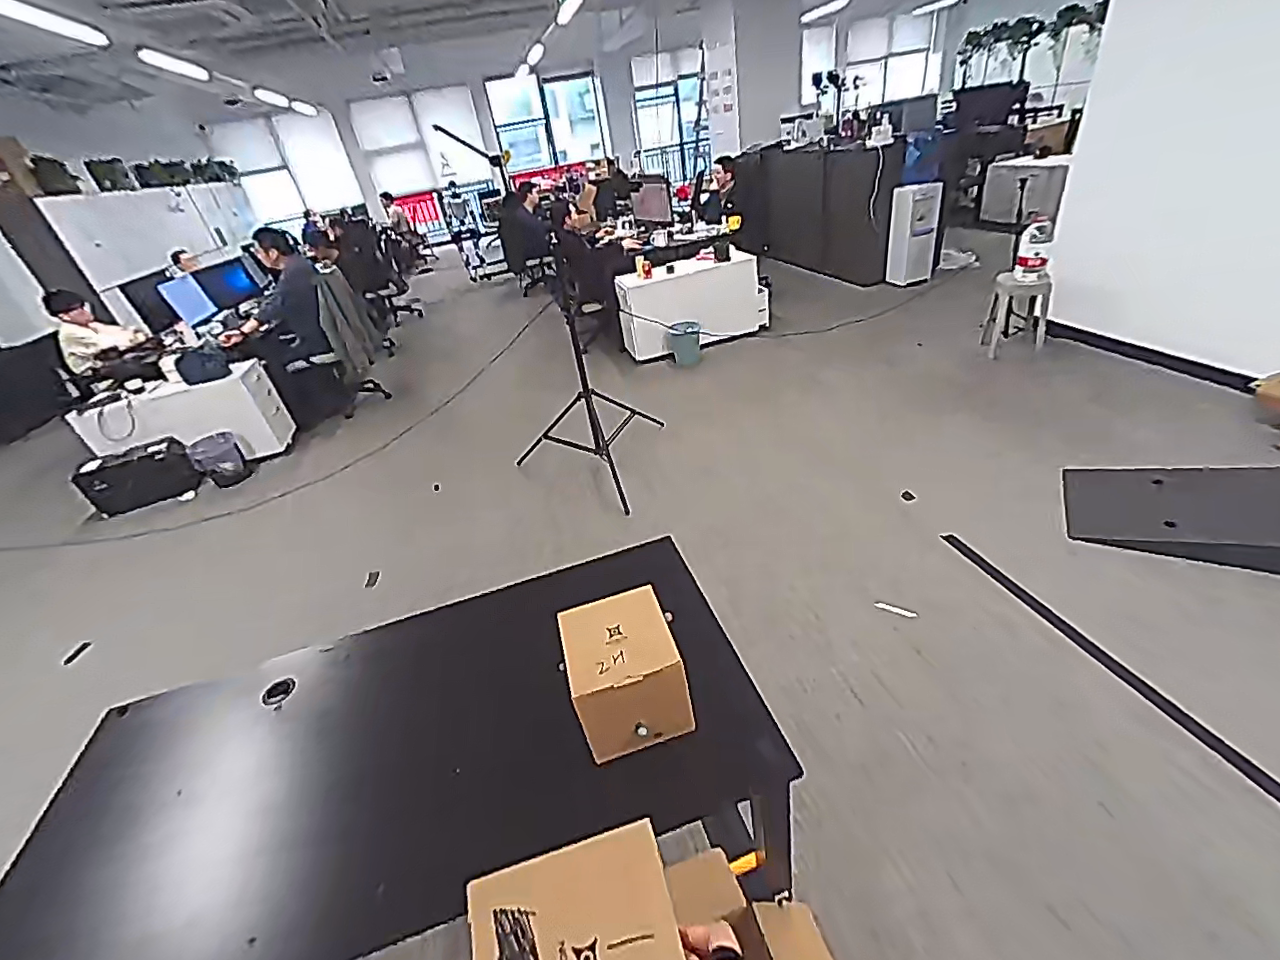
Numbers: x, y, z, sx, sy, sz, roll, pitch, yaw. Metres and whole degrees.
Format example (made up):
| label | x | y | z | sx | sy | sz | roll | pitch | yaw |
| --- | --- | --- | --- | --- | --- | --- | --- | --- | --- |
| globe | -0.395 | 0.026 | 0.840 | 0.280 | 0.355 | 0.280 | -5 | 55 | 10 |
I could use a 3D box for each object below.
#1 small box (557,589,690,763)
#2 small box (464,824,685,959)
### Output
| label | x | y | z | sx | sy | sz | roll | pitch | yaw |
| --- | --- | --- | --- | --- | --- | --- | --- | --- | --- |
| small box | -0.028 | 0.313 | 0.875 | 0.168 | 0.176 | 0.179 | -16 | 32 | -7 |
| small box | -0.047 | 0.457 | 0.495 | 0.179 | 0.176 | 0.168 | -15 | 43 | -8 |
